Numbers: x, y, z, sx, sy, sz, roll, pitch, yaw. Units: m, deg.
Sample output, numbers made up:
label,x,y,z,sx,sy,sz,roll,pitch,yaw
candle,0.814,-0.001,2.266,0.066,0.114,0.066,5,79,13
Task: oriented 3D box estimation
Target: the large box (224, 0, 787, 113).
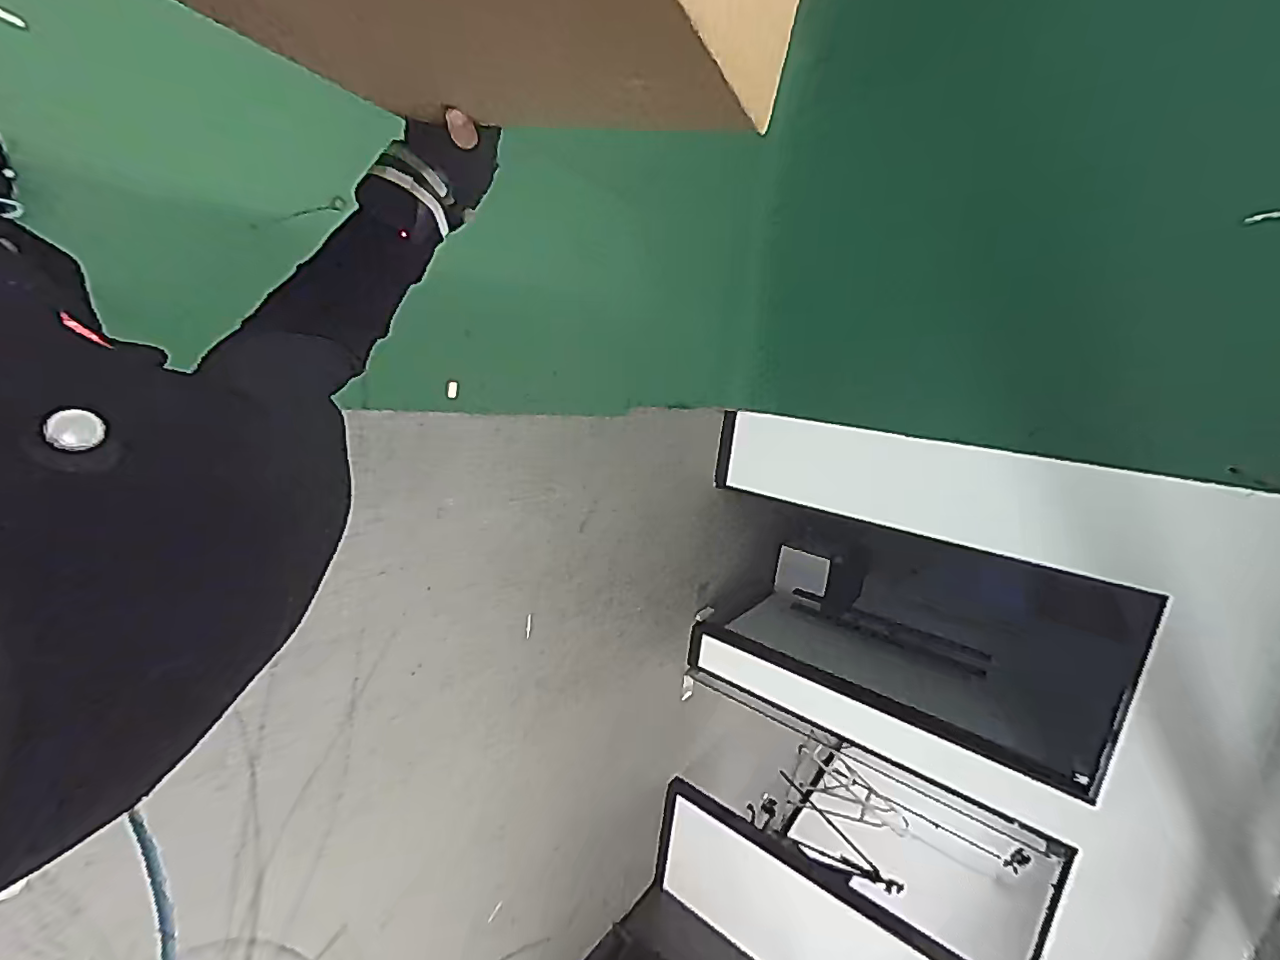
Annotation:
label,x,y,z,sx,sy,sz,roll,pitch,yaw
large box,-0.114,-0.385,0.194,0.408,0.320,0.320,-25,130,-63
